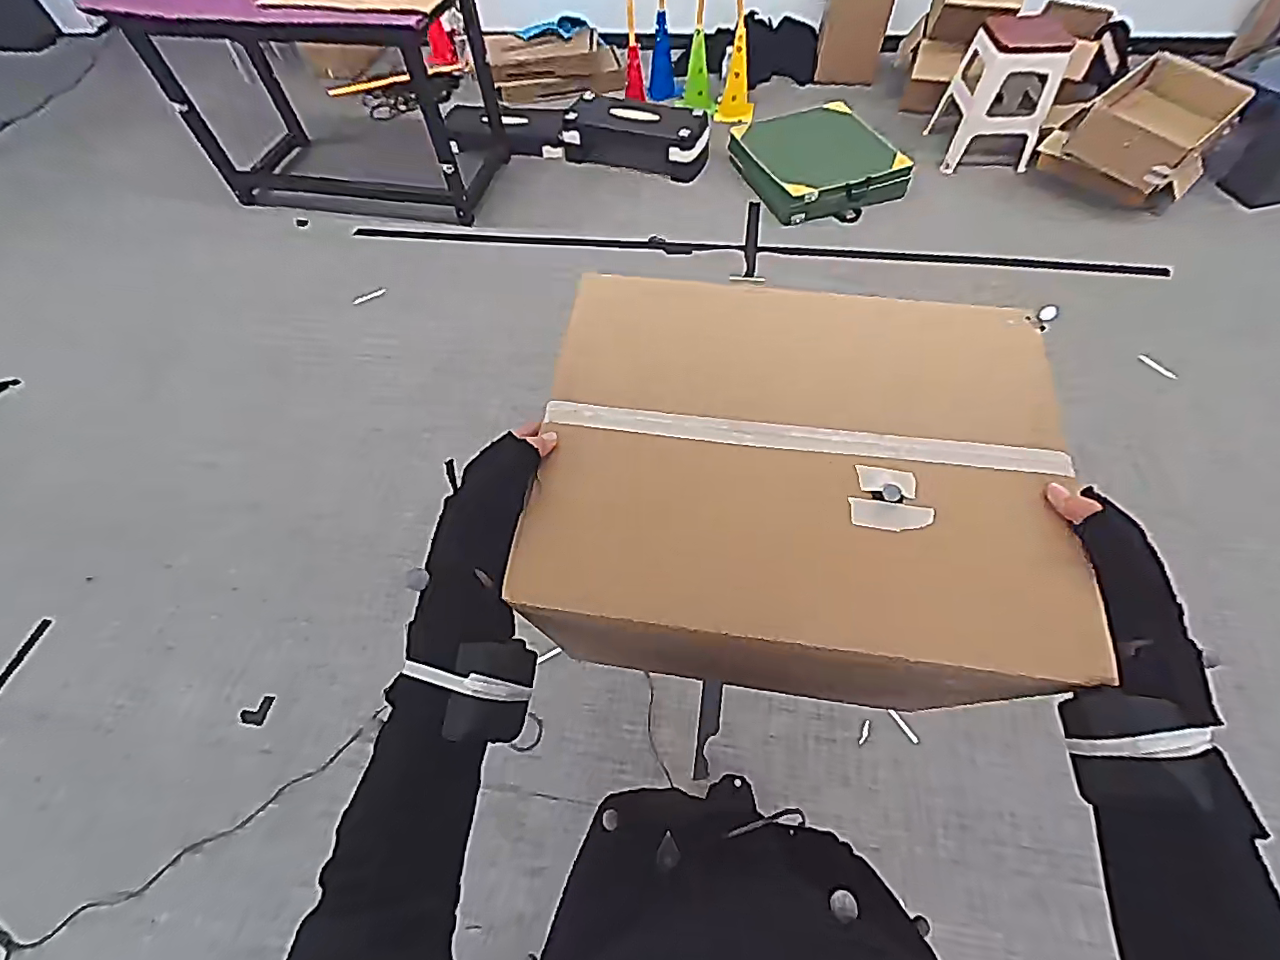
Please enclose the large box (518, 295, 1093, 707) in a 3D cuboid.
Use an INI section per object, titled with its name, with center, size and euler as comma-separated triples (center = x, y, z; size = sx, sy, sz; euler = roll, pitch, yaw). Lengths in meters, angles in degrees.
[large box]
center = 0.128, 0.043, 0.570
size = 0.408, 0.320, 0.320
euler = 7, 66, 5
